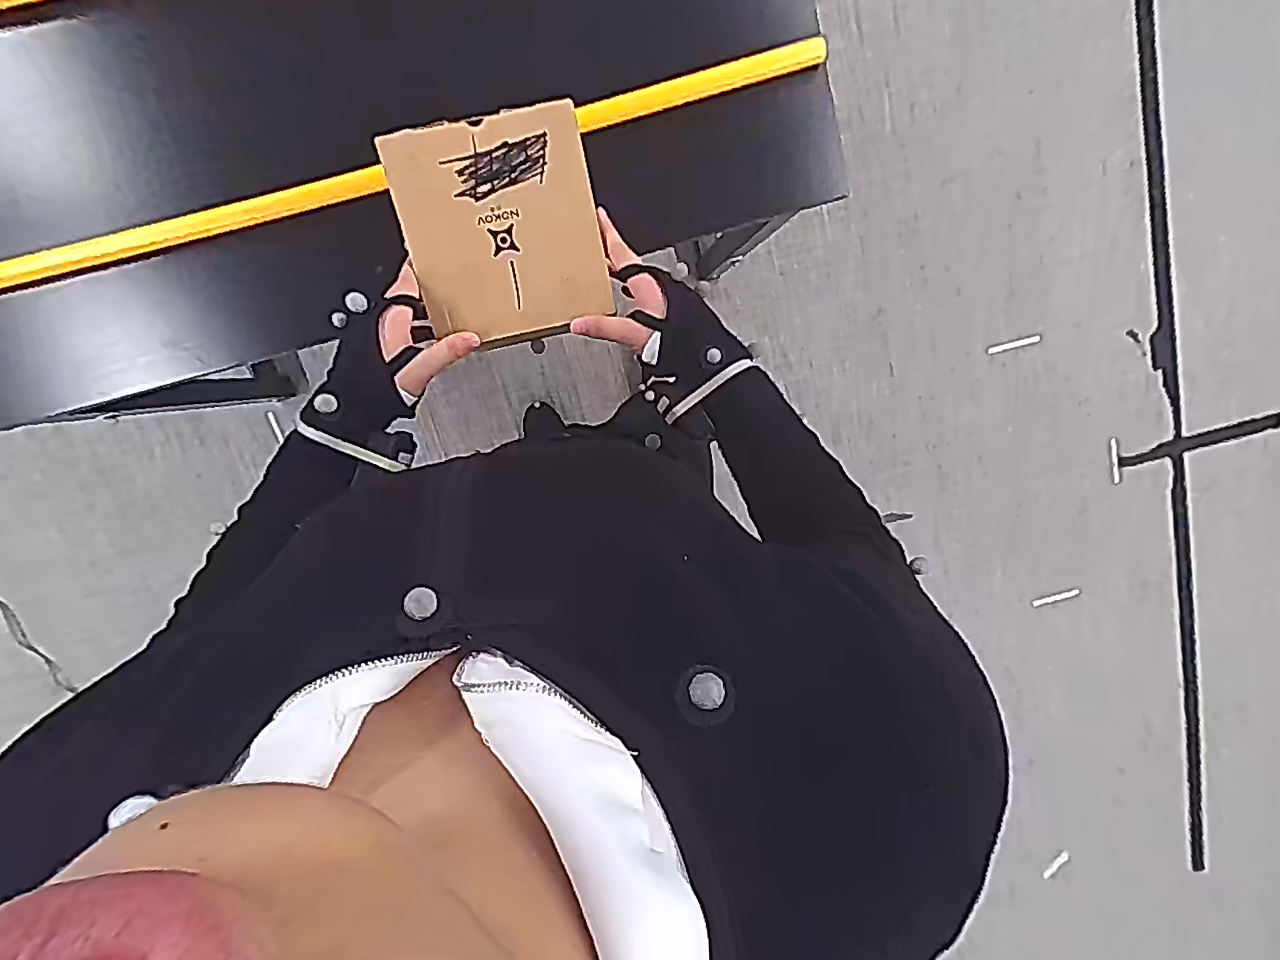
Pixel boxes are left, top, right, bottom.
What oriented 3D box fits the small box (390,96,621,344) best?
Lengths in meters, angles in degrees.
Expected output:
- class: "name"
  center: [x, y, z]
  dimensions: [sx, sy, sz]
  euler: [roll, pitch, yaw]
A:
- class: "small box"
  center: [-0.119, -0.239, 0.543]
  dimensions: [0.168, 0.176, 0.179]
  euler: [-12, 104, -1]
